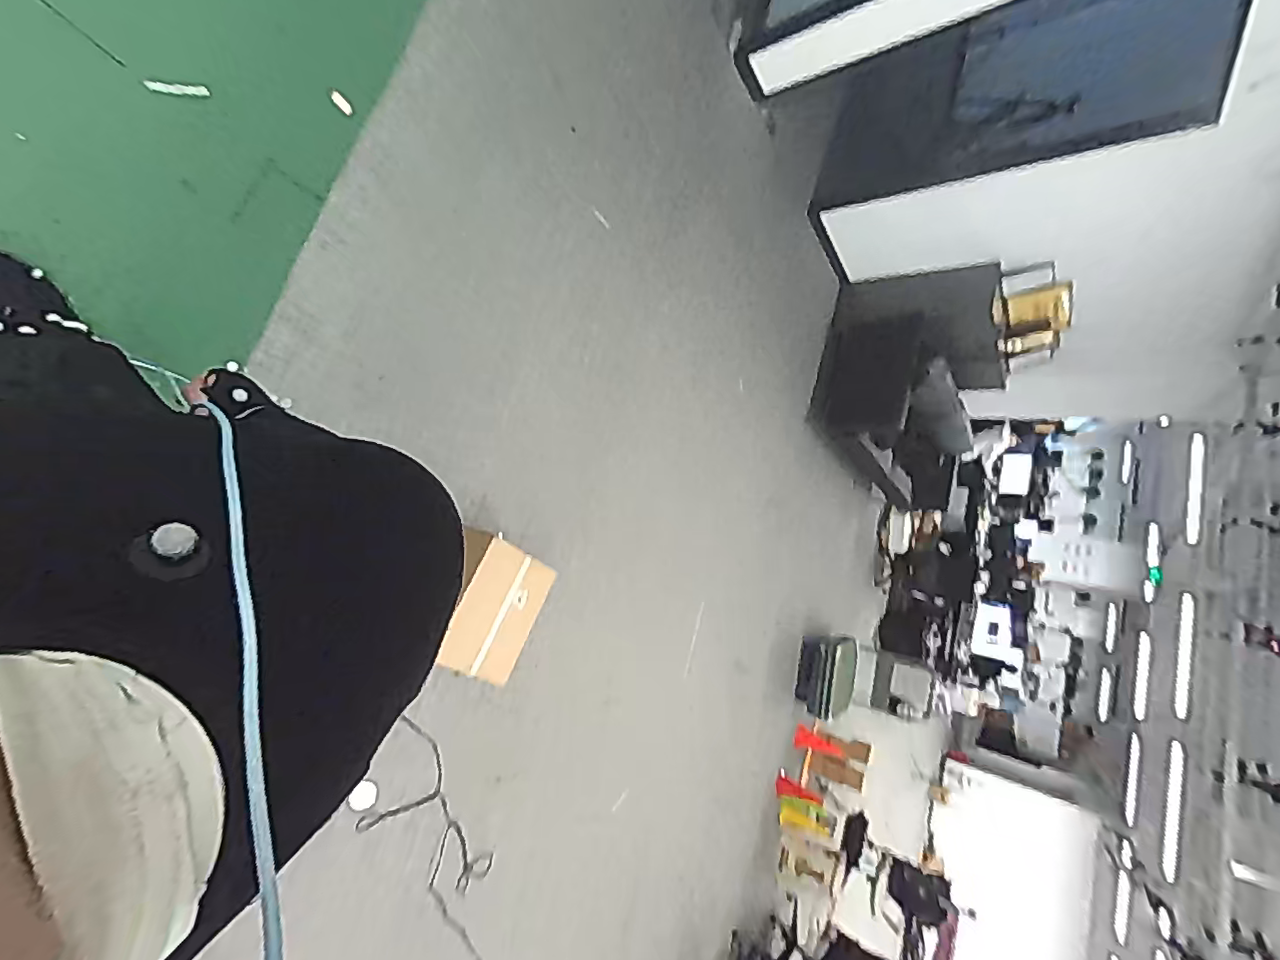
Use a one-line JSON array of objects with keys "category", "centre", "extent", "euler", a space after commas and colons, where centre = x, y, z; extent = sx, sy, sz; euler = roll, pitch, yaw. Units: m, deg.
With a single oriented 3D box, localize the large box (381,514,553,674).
[{"category": "large box", "centre": [-0.563, 0.370, 1.783], "extent": [0.320, 0.320, 0.408], "euler": [44, 61, -45]}]
